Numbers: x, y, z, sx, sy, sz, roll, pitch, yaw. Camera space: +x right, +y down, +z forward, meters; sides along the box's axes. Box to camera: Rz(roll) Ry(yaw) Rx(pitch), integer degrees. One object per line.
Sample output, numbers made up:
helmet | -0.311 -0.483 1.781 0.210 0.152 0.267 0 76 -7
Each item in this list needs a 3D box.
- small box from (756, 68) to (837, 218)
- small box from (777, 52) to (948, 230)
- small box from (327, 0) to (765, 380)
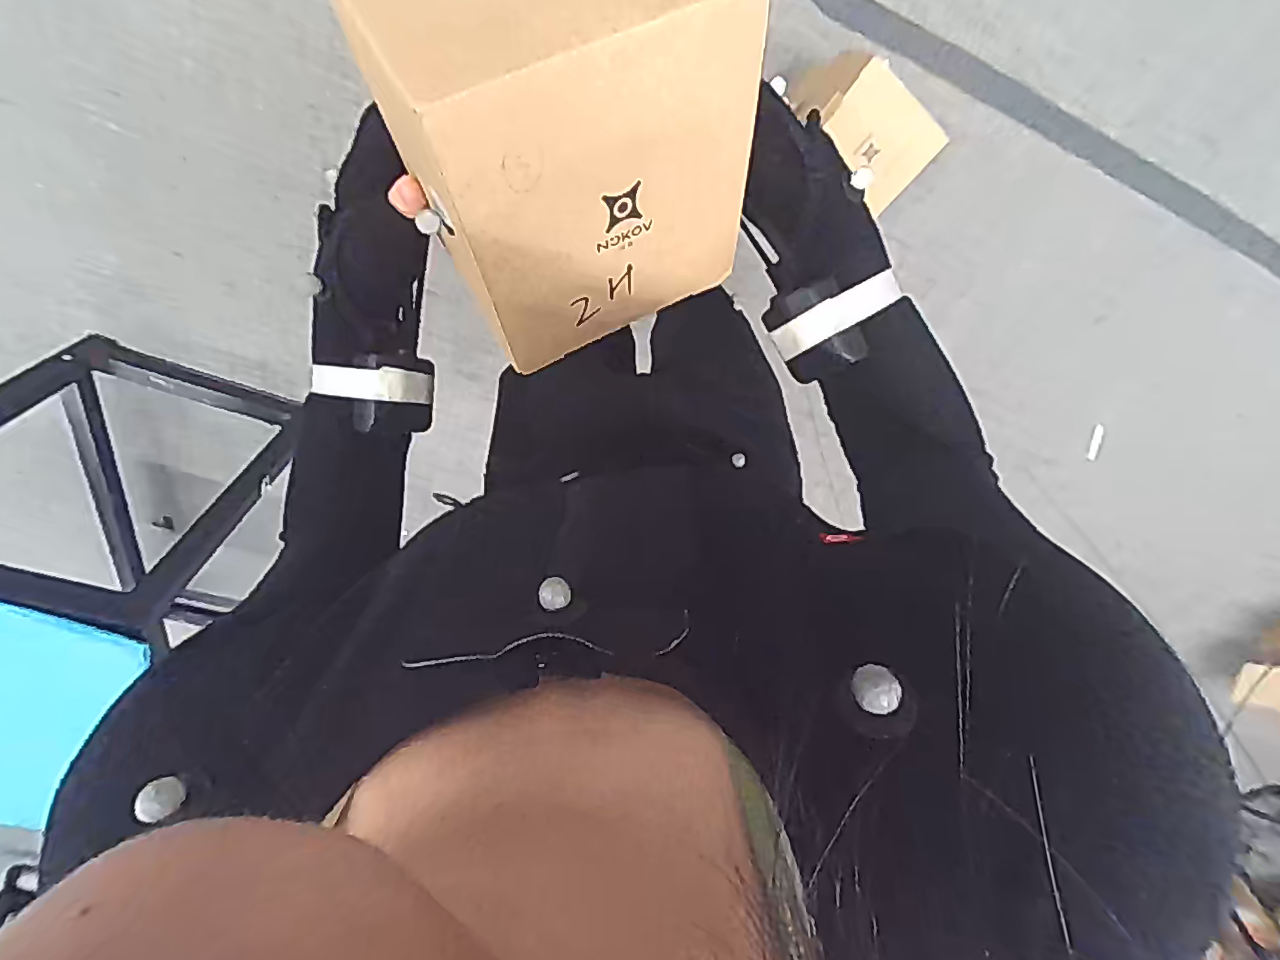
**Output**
small box | 0.342 -0.637 1.021 0.179 0.176 0.168 31 124 -24
small box | 0.346 -0.550 0.878 0.179 0.176 0.168 29 126 -23
small box | -0.056 -0.199 0.322 0.168 0.176 0.179 -25 159 -12
